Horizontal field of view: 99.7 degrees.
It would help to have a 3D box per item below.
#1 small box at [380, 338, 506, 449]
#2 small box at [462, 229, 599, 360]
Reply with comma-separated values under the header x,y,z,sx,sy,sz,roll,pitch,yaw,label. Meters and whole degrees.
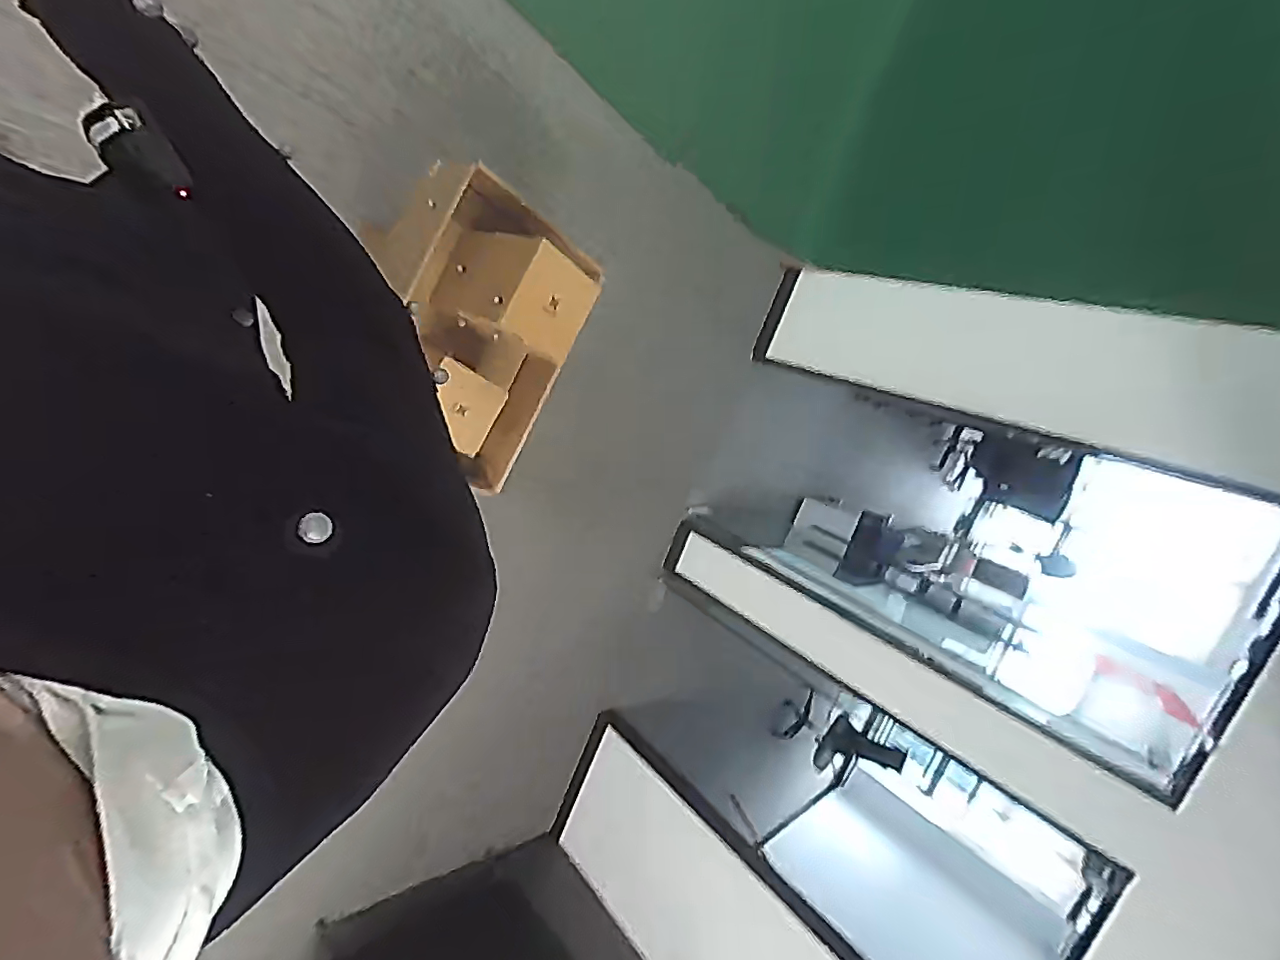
x,y,z,sx,sy,sz,roll,pitch,yaw,label
-0.440,-0.197,1.199,0.179,0.176,0.168,32,90,-49,small box
-0.221,-0.370,1.068,0.168,0.176,0.179,26,94,-50,small box
